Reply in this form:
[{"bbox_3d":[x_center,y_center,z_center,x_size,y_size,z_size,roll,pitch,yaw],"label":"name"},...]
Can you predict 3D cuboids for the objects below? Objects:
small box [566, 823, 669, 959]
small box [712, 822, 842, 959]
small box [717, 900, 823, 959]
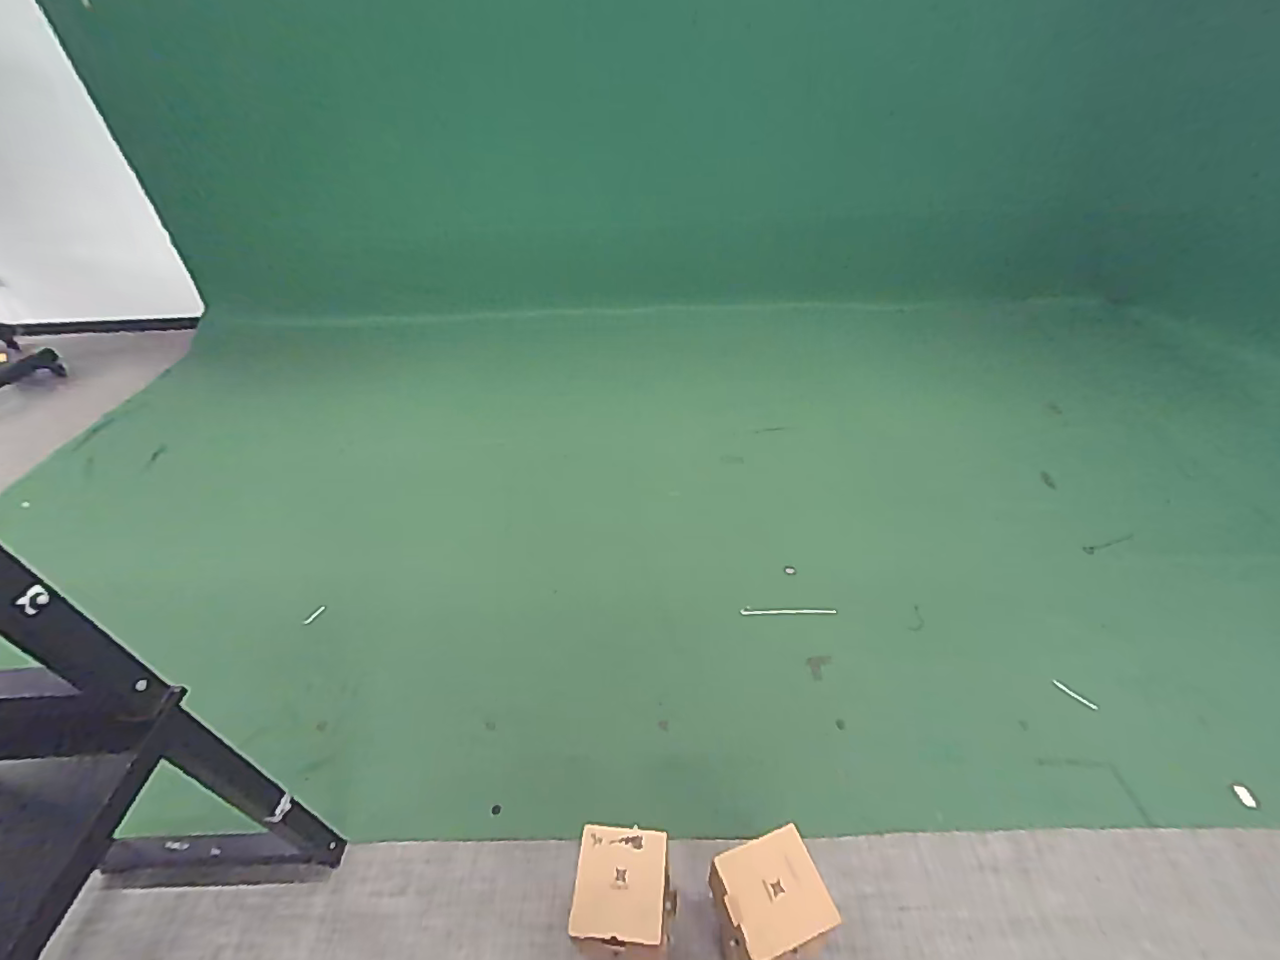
[{"bbox_3d":[-0.033,0.789,1.033,0.168,0.176,0.179,2,41,7],"label":"small box"},{"bbox_3d":[0.246,0.790,1.020,0.179,0.176,0.168,-14,44,-14],"label":"small box"},{"bbox_3d":[0.259,0.905,1.135,0.179,0.176,0.168,-6,42,-5],"label":"small box"}]
